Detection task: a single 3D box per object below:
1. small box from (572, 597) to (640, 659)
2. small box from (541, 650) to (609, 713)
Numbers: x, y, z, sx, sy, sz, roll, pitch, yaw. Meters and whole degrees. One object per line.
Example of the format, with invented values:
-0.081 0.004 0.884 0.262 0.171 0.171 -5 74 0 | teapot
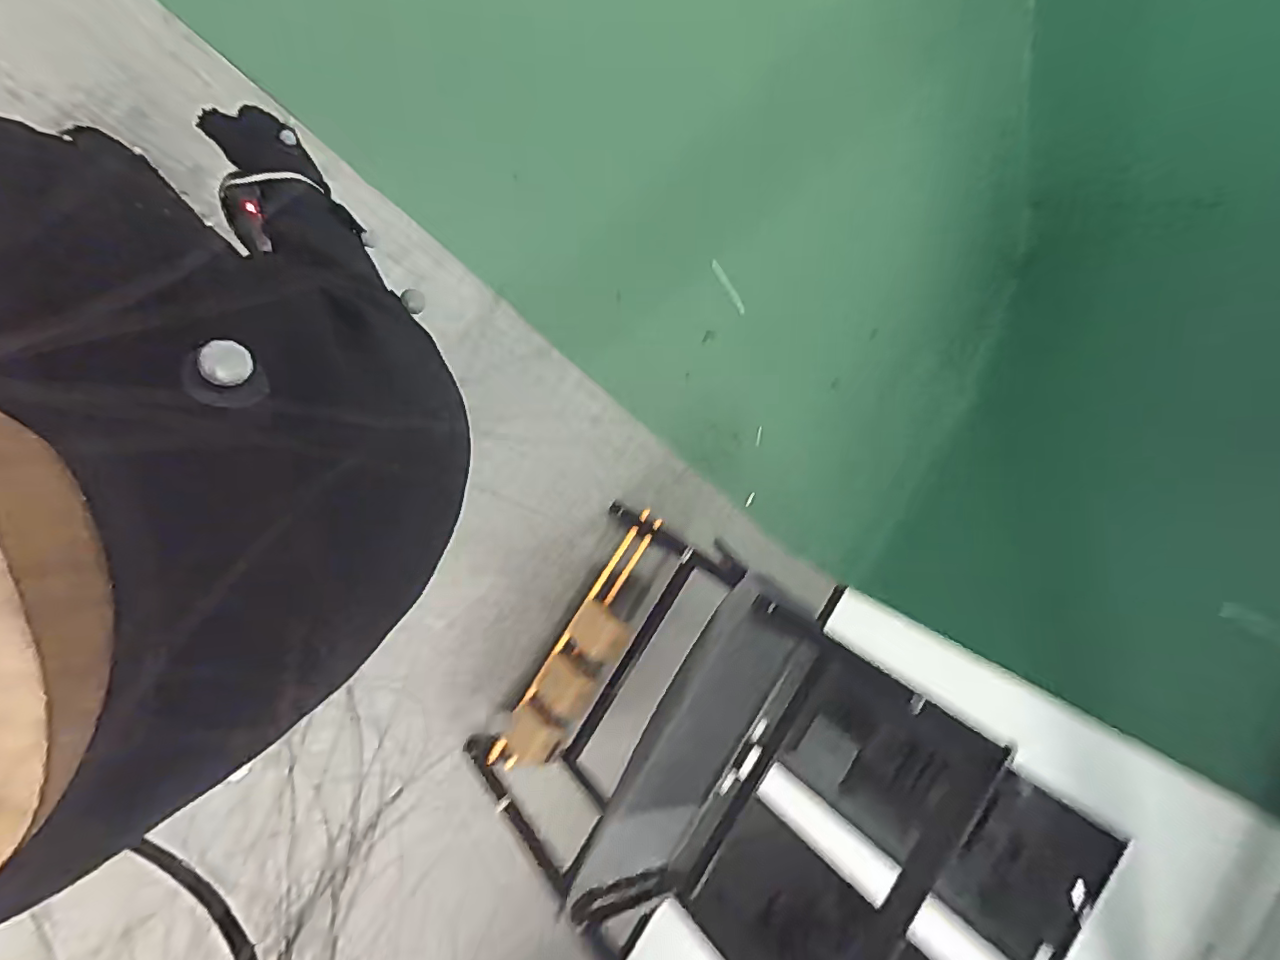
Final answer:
-0.139 0.592 2.173 0.179 0.176 0.168 36 86 -48 | small box
-0.264 0.804 2.165 0.179 0.176 0.168 34 87 -48 | small box
